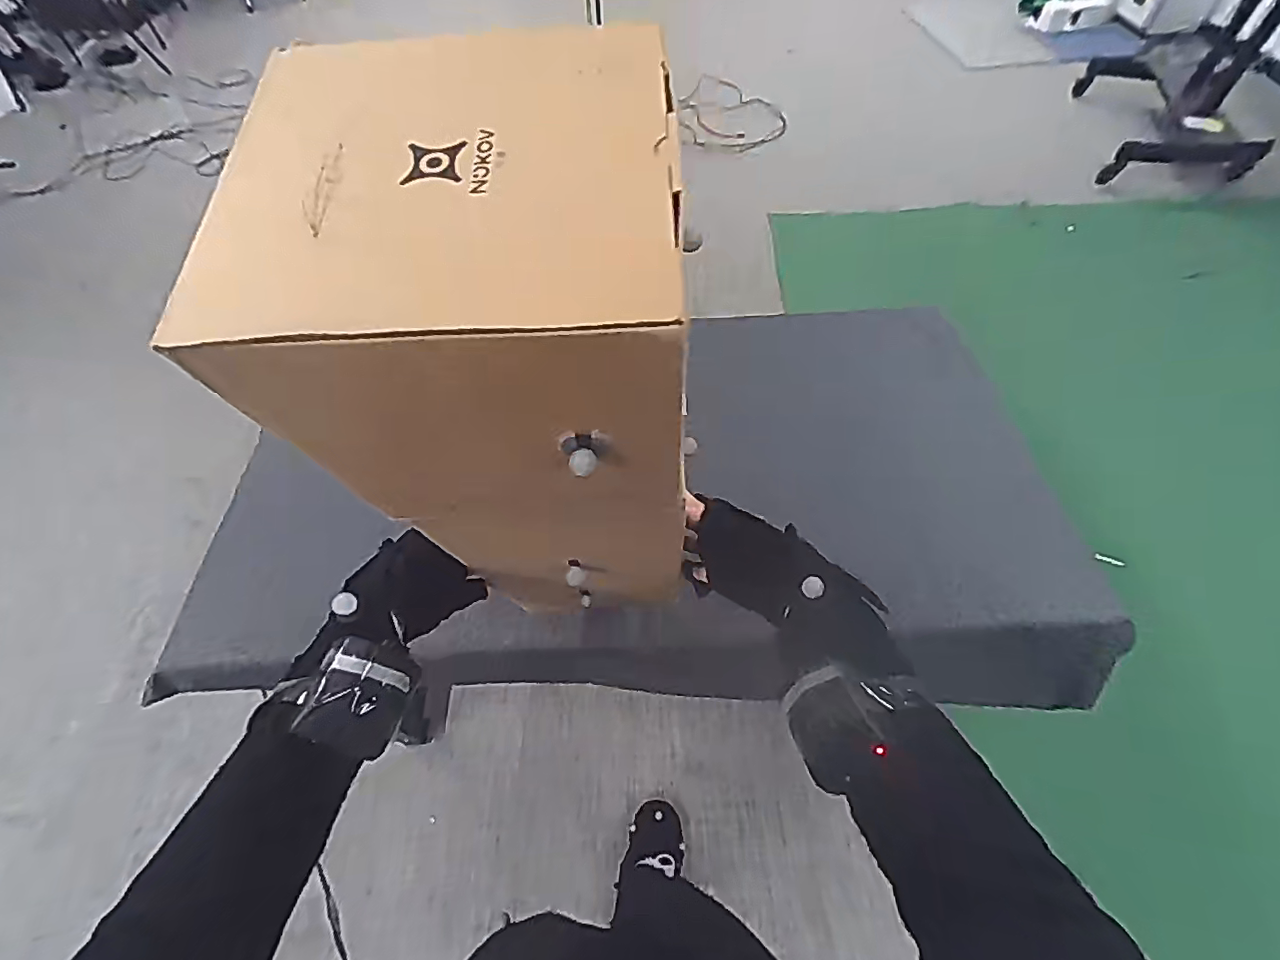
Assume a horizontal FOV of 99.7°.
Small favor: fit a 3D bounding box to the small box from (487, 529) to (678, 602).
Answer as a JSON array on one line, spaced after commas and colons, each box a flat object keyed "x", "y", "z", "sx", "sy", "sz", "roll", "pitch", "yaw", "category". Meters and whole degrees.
[{"x": -0.052, "y": 0.034, "z": 0.588, "sx": 0.179, "sy": 0.176, "sz": 0.168, "roll": -4, "pitch": 67, "yaw": 2, "category": "small box"}]

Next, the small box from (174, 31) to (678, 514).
[{"x": -0.072, "y": -0.088, "z": 0.287, "sx": 0.179, "sy": 0.176, "sz": 0.168, "roll": -4, "pitch": 65, "yaw": 3, "category": "small box"}]

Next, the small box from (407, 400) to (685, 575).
[{"x": -0.061, "y": -0.026, "z": 0.438, "sx": 0.179, "sy": 0.176, "sz": 0.168, "roll": -6, "pitch": 67, "yaw": 1, "category": "small box"}]
